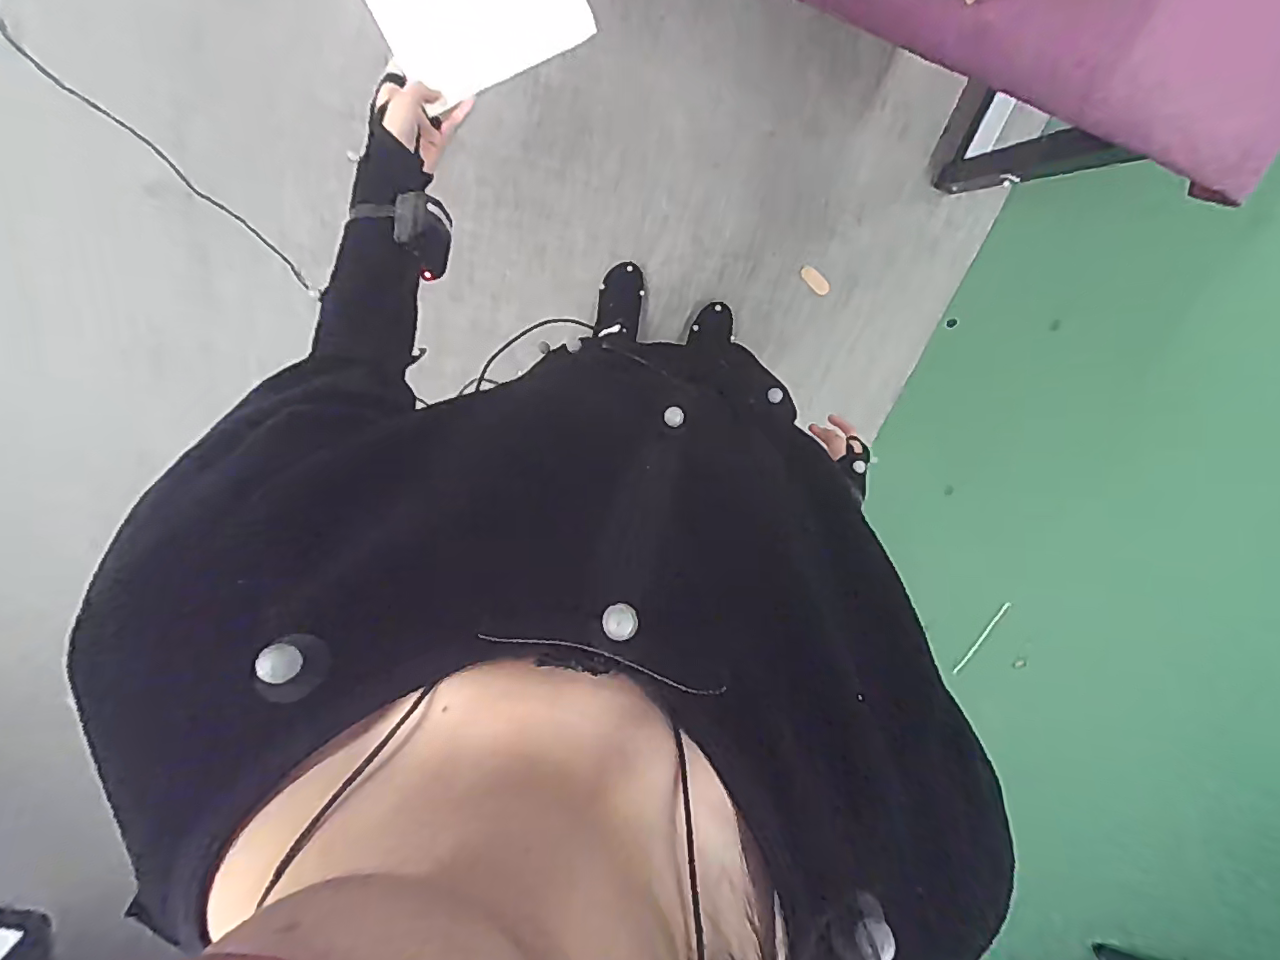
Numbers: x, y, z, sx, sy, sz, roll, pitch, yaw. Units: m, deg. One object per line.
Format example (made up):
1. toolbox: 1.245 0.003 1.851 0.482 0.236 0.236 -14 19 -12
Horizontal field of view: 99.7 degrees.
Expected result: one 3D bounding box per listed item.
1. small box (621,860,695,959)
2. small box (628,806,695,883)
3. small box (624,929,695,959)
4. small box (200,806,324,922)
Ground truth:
1. small box: 0.046 1.178 1.470 0.168 0.176 0.179 10 112 -2
2. small box: 0.062 1.113 1.619 0.179 0.176 0.168 8 112 -1
3. small box: 0.044 1.244 1.319 0.168 0.176 0.179 9 111 -1
4. small box: -0.994 1.016 1.440 0.168 0.176 0.179 -37 105 16
